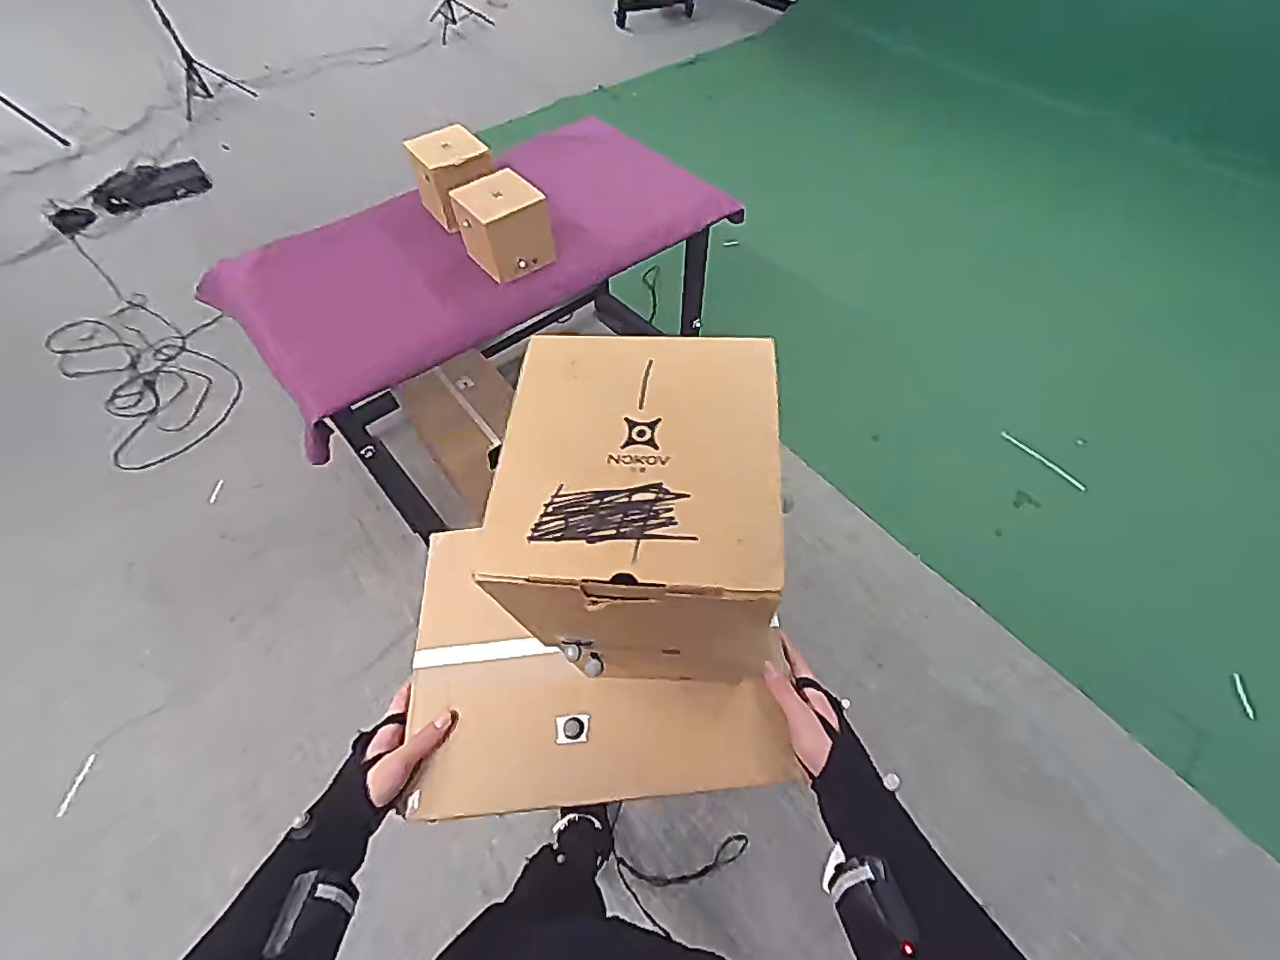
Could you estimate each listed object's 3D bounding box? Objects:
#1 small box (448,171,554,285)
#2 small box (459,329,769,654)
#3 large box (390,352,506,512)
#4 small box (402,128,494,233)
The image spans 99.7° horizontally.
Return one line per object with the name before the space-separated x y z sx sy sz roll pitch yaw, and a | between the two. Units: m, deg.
small box | -0.330 -0.605 1.305 0.168 0.176 0.179 -34 62 -18
small box | 0.000 0.016 0.383 0.168 0.176 0.179 3 60 7
large box | -0.545 -0.141 1.798 0.320 0.320 0.408 -35 62 -20
small box | -0.492 -0.789 1.430 0.168 0.176 0.179 -33 63 -19
